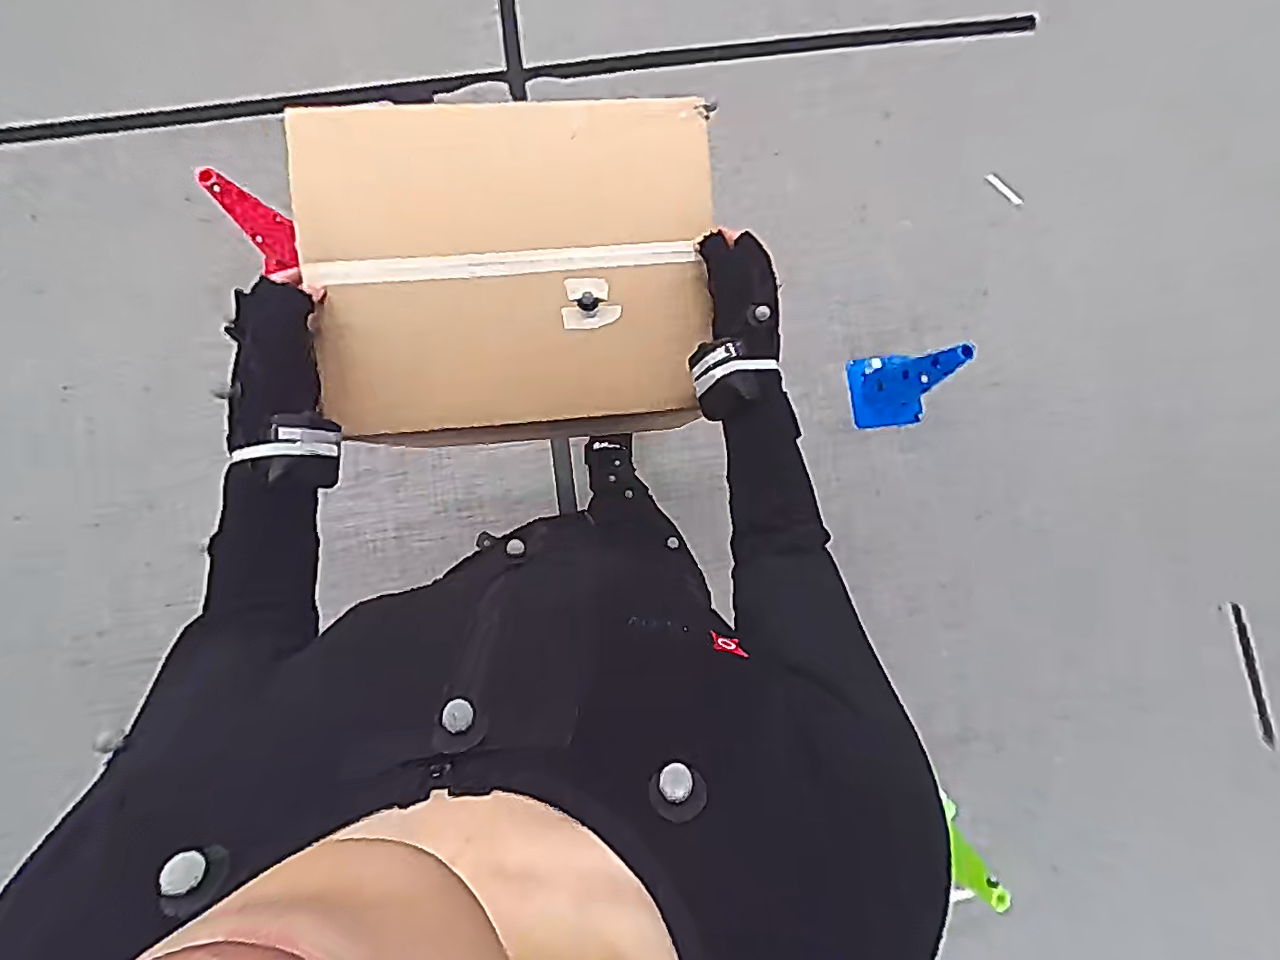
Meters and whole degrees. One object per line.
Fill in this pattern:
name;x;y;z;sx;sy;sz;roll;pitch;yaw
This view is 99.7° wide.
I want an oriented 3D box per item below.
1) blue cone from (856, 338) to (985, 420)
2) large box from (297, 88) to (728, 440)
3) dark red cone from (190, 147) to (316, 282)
blue cone;0.718;-0.279;1.367;0.192;0.380;0.193;-4;86;-4
large box;-0.134;-0.231;0.687;0.408;0.320;0.320;-6;92;-6
dark red cone;-0.911;-0.641;1.292;0.201;0.394;0.202;-2;85;-4
